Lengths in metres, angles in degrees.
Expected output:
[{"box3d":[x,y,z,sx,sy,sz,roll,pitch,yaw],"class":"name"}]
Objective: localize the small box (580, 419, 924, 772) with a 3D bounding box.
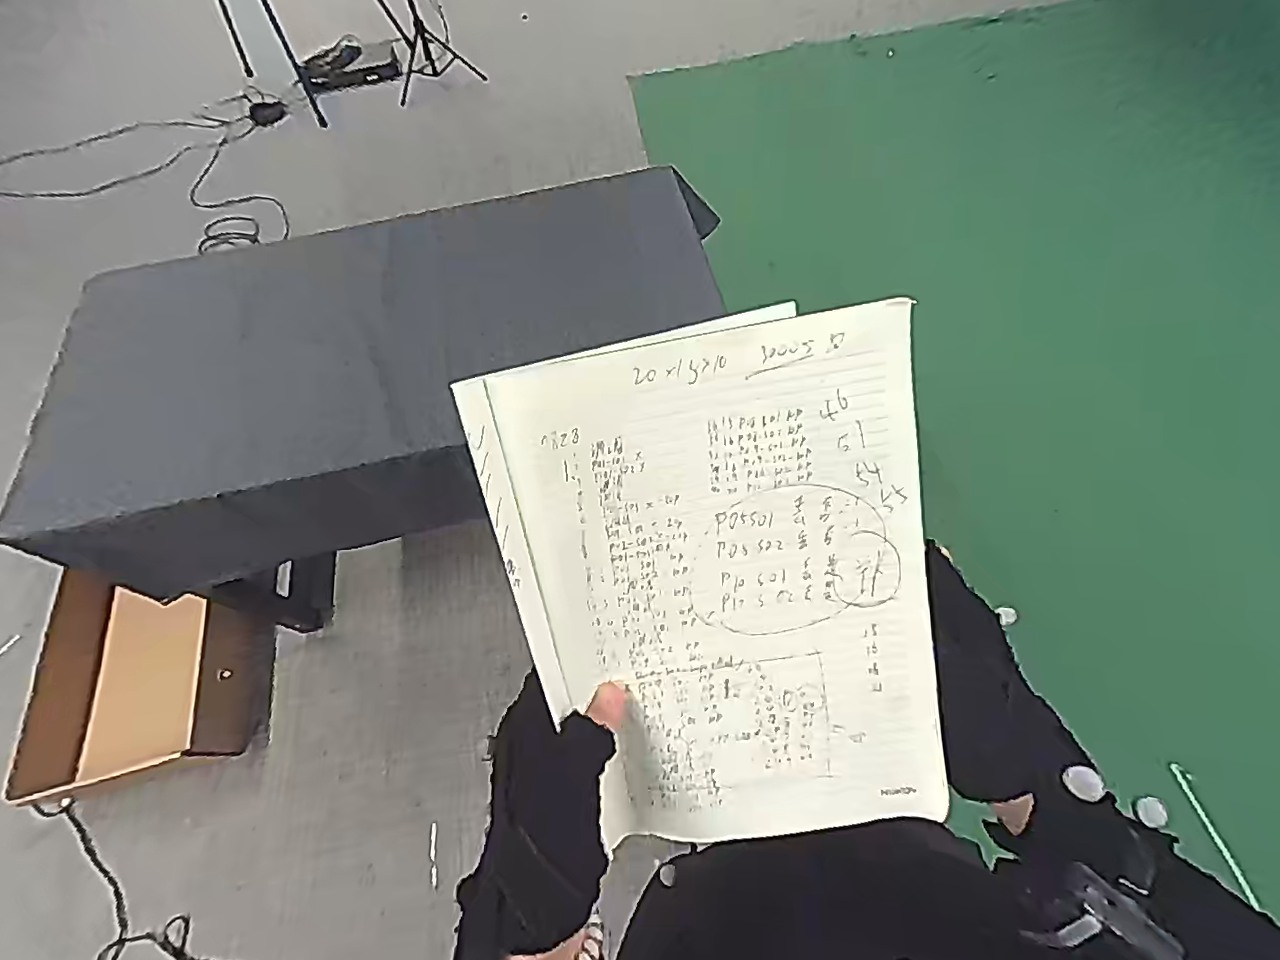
[{"box3d":[0.066,0.077,0.396,0.168,0.176,0.179,-15,81,3],"class":"small box"}]
